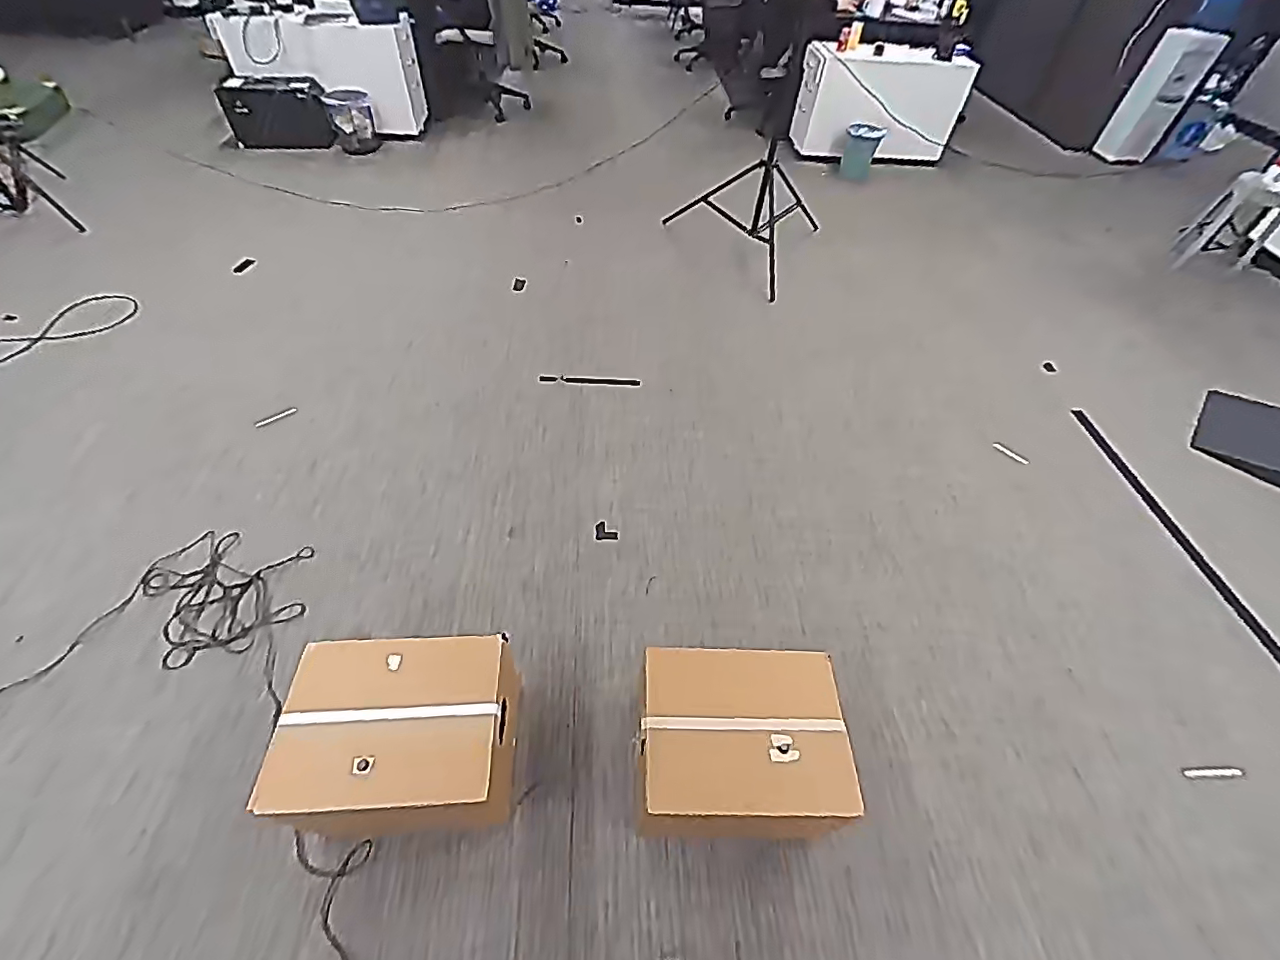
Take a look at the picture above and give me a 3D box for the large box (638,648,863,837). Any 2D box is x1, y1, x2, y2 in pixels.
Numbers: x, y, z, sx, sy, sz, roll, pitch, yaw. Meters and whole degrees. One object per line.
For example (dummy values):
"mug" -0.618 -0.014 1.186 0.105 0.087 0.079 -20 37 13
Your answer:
"large box" 0.206 0.586 1.199 0.408 0.320 0.320 3 50 -3
